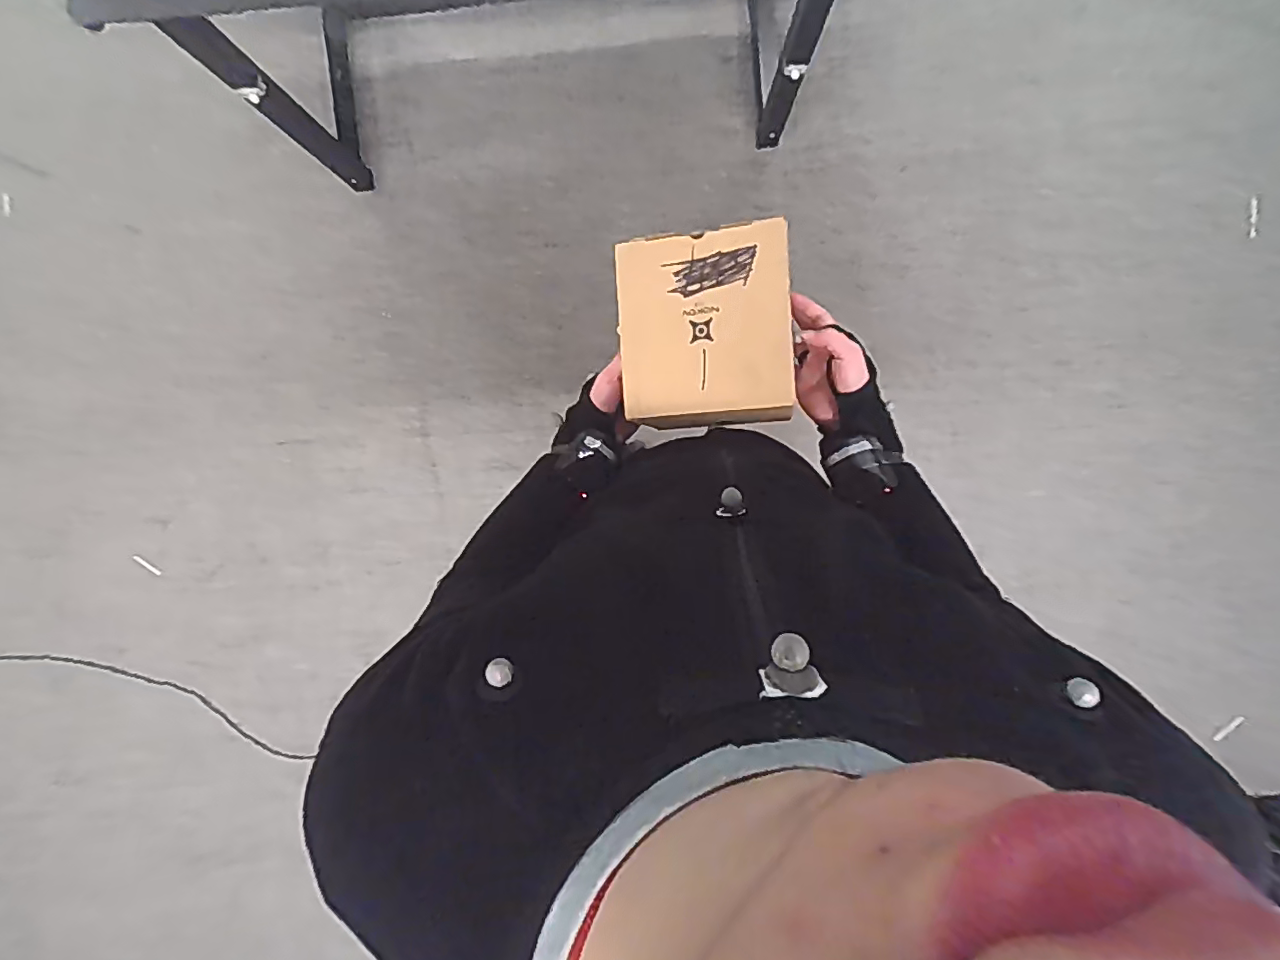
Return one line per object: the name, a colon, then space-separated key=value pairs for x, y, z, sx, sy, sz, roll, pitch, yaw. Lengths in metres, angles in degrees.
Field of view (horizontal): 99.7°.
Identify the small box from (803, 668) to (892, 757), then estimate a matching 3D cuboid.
small box: x=0.580 y=0.650 z=1.528 sx=0.179 sy=0.176 sz=0.168 roll=8 pitch=93 yaw=1
